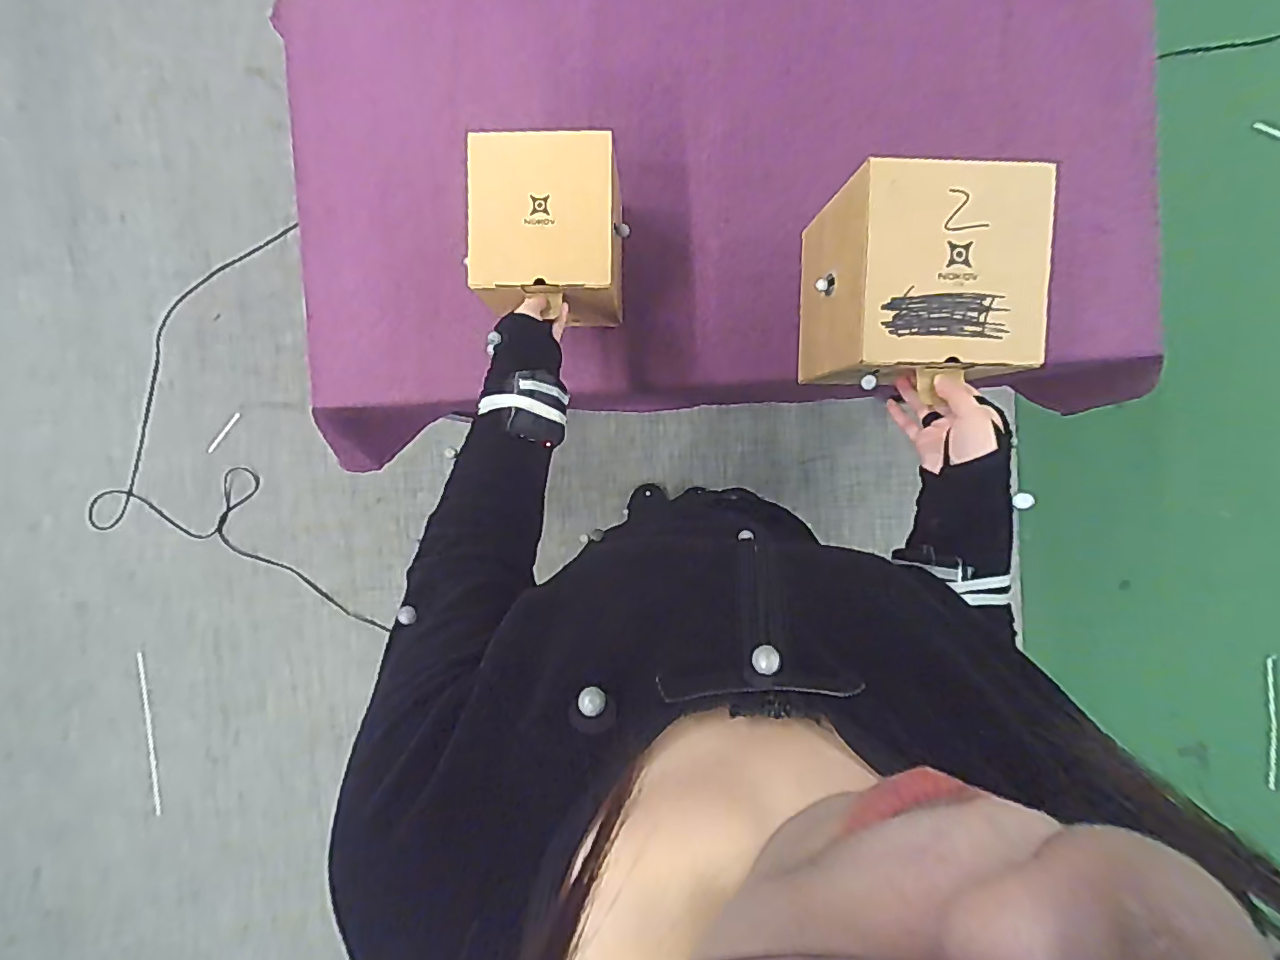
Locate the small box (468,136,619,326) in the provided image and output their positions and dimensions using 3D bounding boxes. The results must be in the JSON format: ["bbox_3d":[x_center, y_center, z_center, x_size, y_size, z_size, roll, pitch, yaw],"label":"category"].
[{"bbox_3d":[-0.116,-0.312,0.705,0.168,0.176,0.179,0,92,2],"label":"small box"}]
